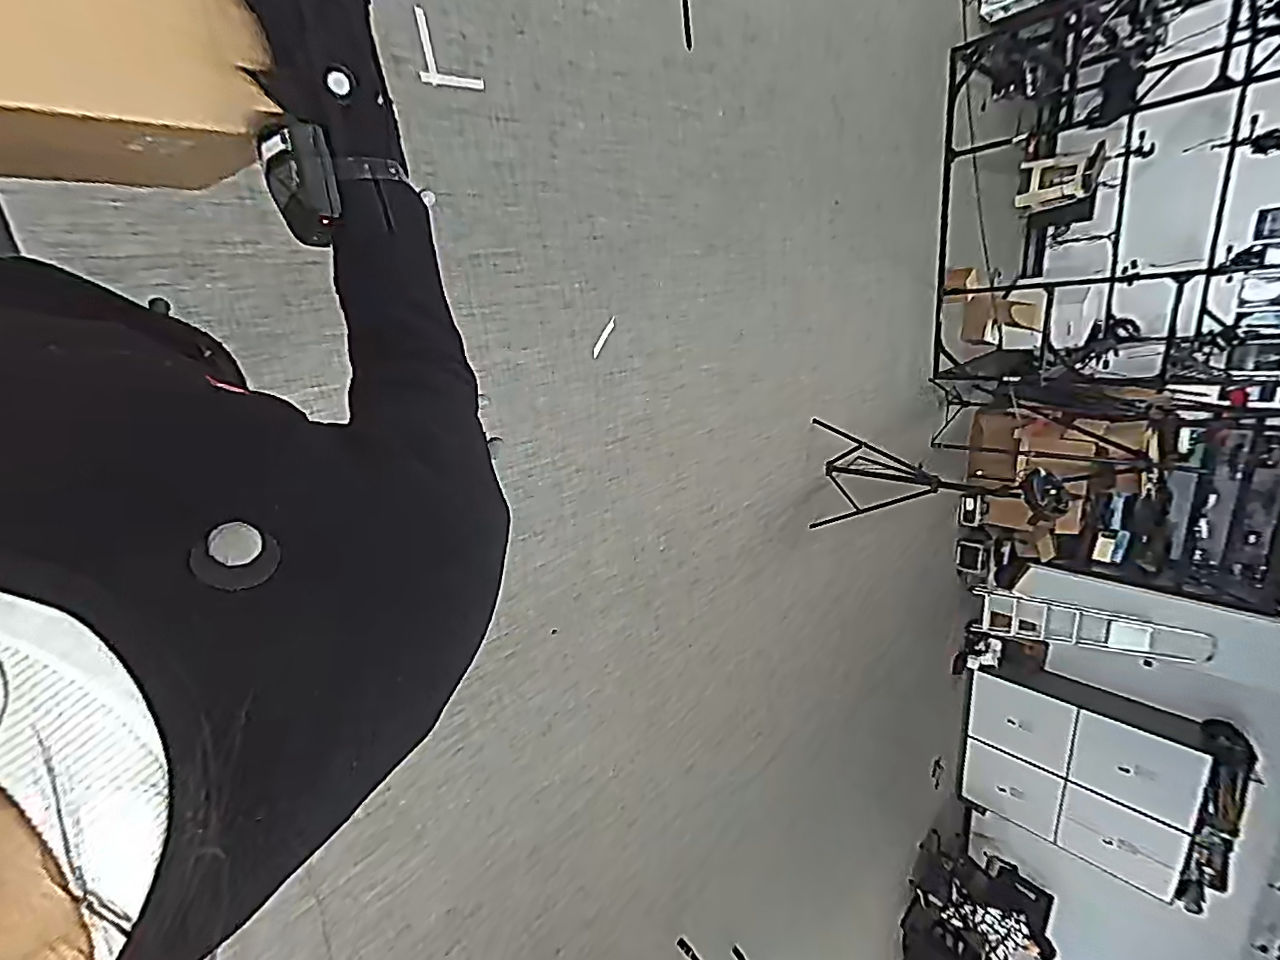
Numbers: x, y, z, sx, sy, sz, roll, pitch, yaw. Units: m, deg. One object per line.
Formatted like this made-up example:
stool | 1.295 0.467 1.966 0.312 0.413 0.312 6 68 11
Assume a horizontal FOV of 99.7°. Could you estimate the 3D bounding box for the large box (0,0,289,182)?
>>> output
large box | -0.496 -0.361 0.290 0.408 0.320 0.320 -23 121 -42
